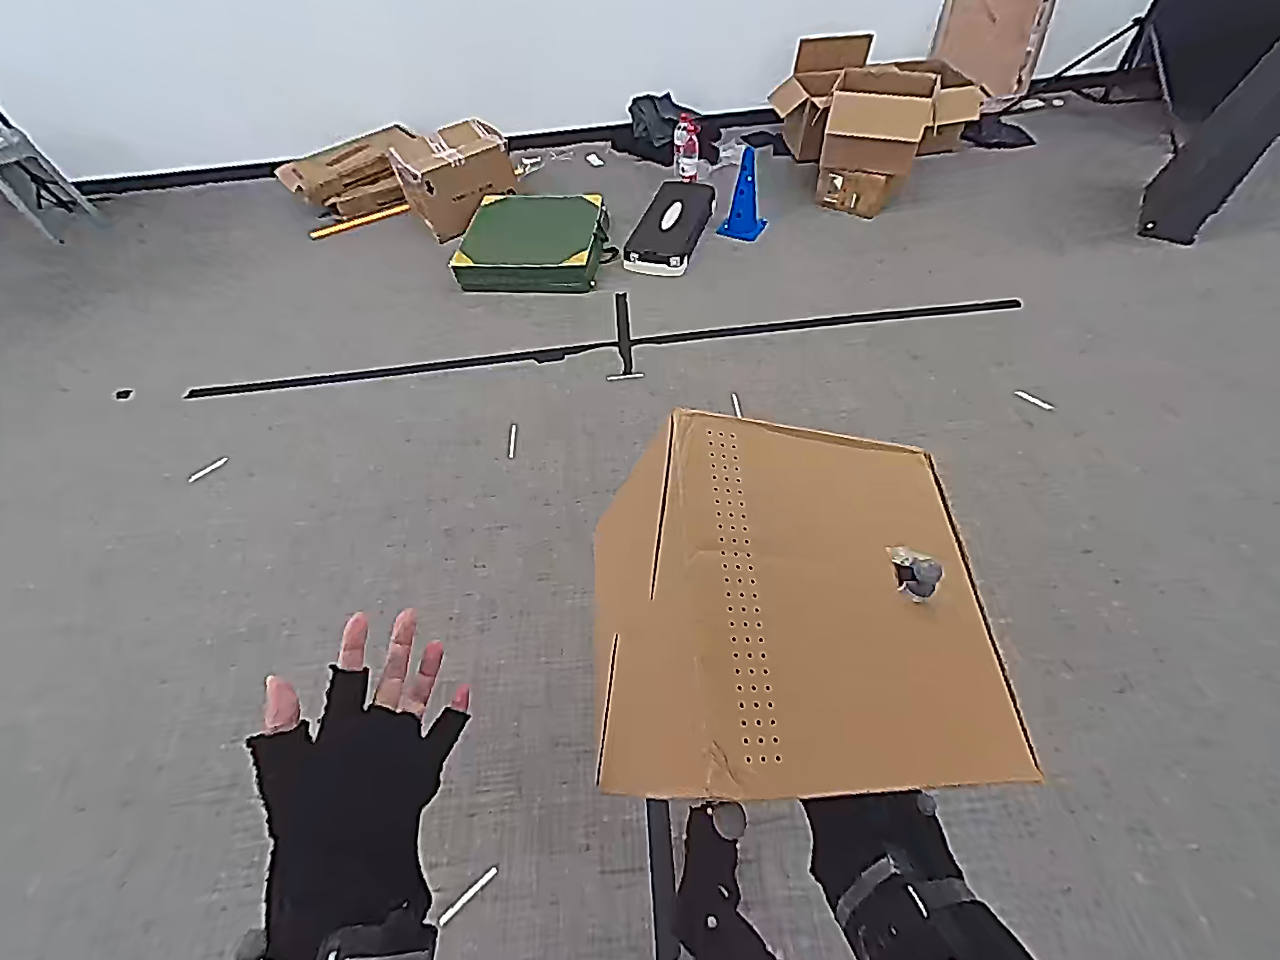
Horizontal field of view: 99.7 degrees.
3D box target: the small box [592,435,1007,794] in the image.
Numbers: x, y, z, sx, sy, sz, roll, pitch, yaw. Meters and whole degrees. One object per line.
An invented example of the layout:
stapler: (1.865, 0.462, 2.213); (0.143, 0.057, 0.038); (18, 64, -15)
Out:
small box: (0.068, 0.089, 0.337); (0.176, 0.168, 0.179); (6, 60, -16)
